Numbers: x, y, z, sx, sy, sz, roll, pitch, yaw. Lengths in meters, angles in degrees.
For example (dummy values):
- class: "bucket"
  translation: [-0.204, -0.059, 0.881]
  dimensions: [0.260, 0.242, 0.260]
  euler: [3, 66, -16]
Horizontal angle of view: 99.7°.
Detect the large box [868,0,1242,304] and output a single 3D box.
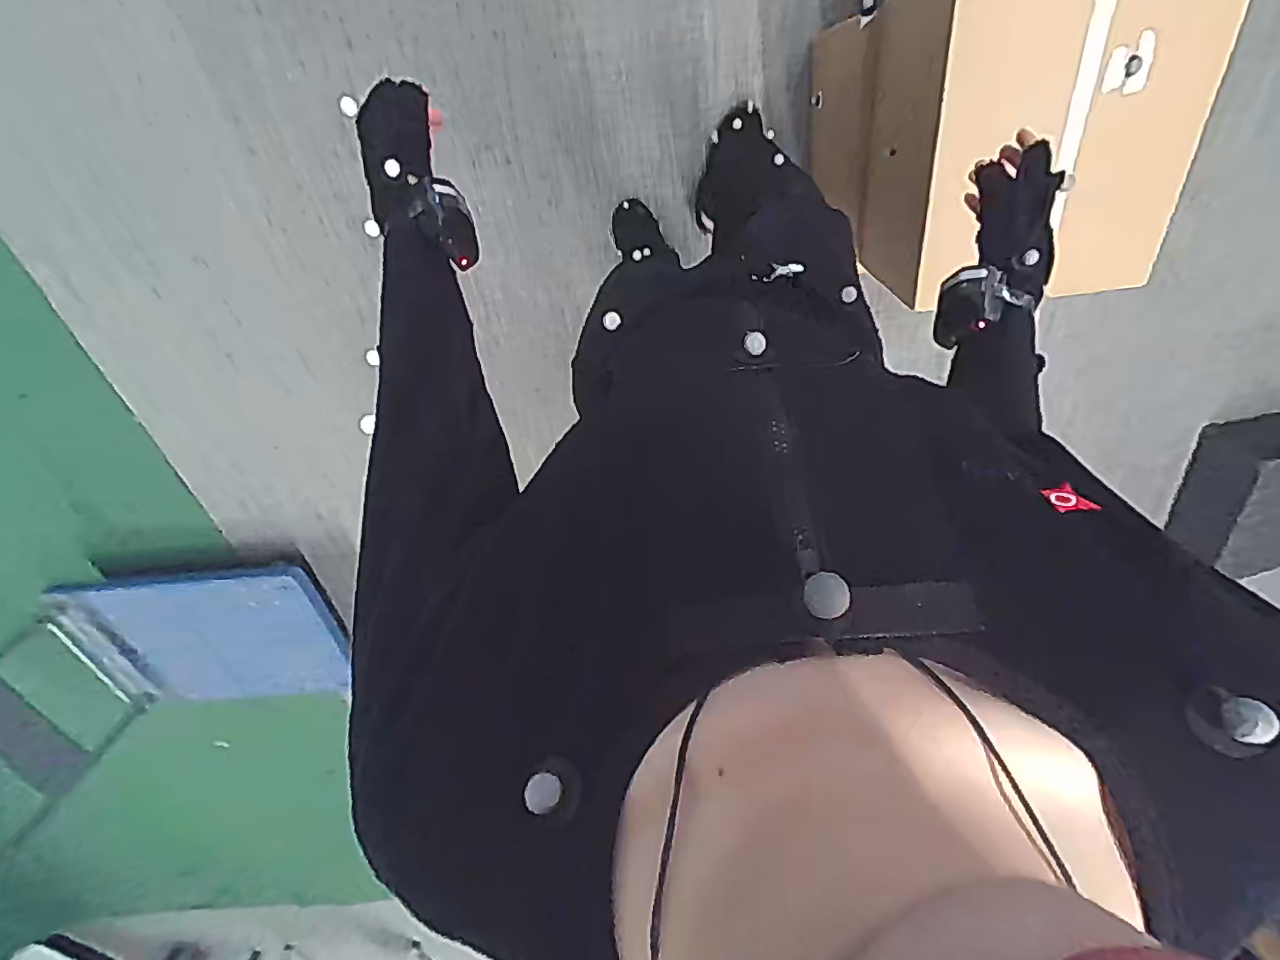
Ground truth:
- class: "large box"
  translation: [0.536, -0.514, 0.787]
  dimensions: [0.320, 0.320, 0.408]
  euler: [-5, 123, 9]
